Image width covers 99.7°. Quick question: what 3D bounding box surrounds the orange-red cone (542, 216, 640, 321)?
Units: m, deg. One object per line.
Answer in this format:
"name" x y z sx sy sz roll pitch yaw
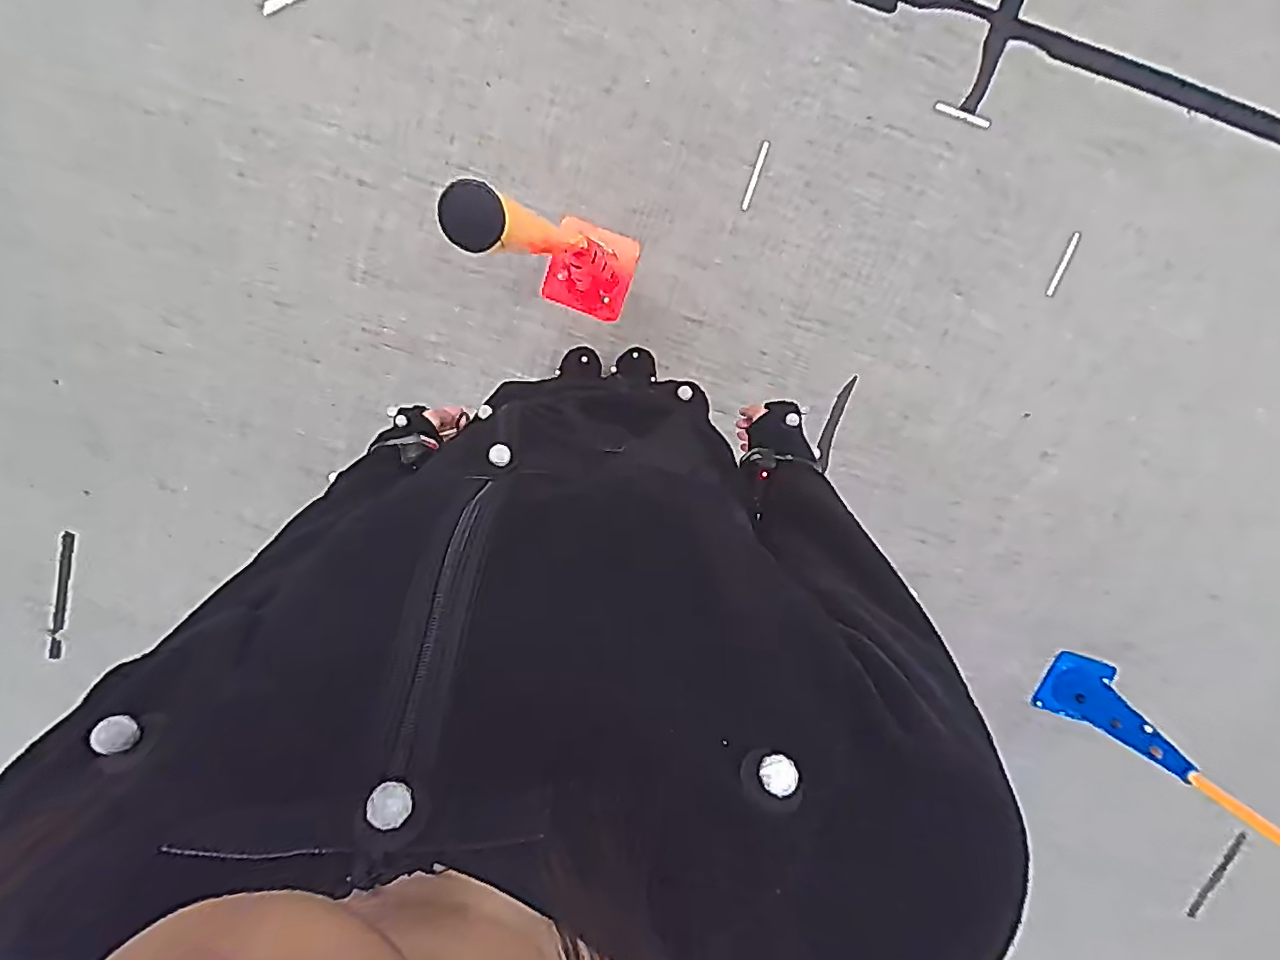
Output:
"orange-red cone" -0.113 -0.464 1.128 0.198 0.360 0.199 20 102 -7

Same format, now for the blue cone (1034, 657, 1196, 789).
"blue cone" 1.307 0.667 1.465 0.193 0.380 0.192 21 103 -6
